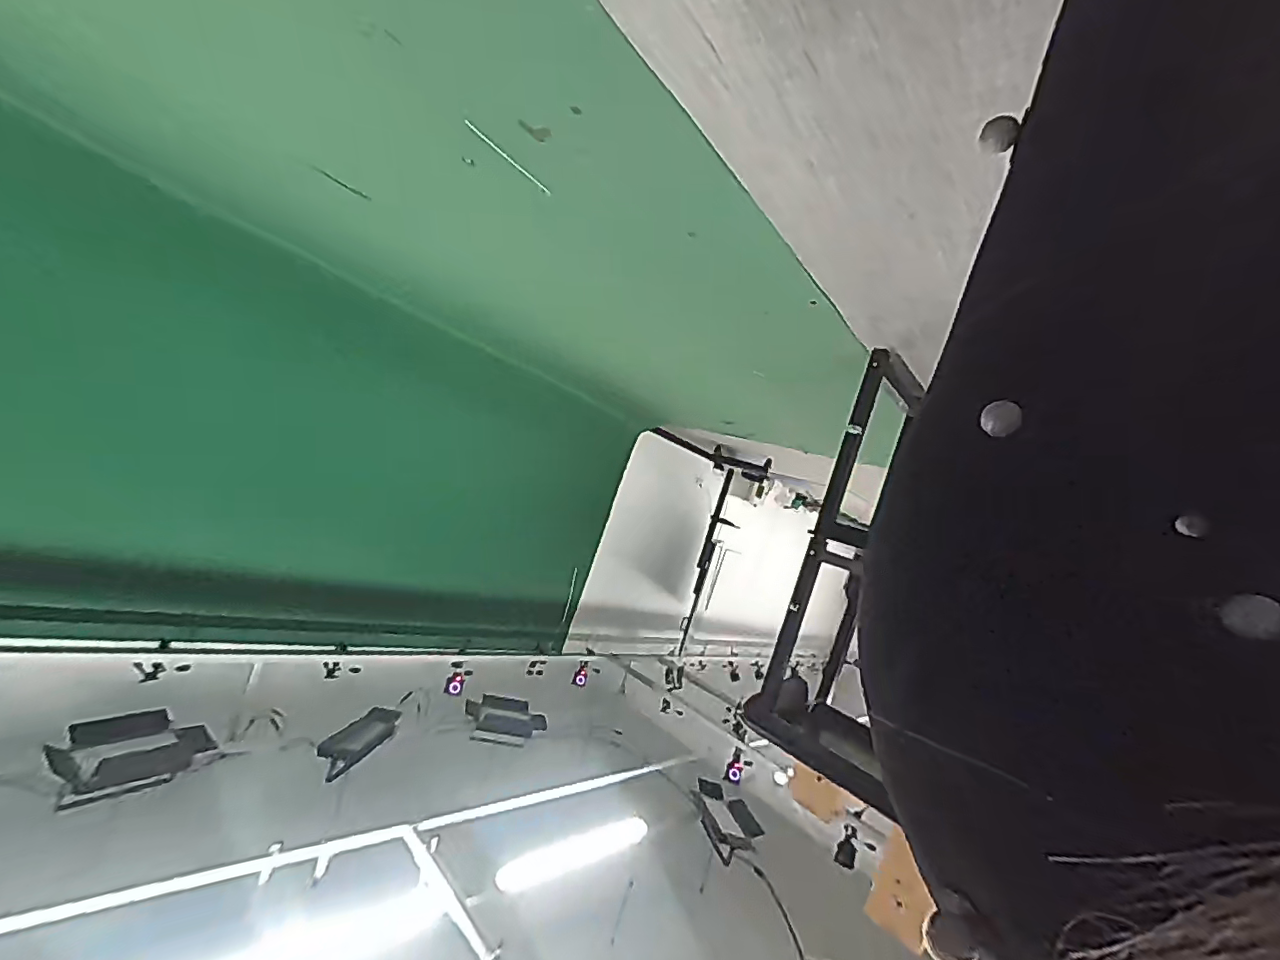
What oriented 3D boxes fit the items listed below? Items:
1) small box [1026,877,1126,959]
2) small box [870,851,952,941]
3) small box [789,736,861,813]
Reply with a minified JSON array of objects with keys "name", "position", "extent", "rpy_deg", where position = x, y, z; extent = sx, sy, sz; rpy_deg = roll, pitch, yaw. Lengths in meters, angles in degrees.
[{"name":"small box","position":[1.138,1.187,1.408],"extent":[0.168,0.176,0.179],"rpy_deg":[18,179,44]},{"name":"small box","position":[0.846,1.264,1.685],"extent":[0.168,0.176,0.179],"rpy_deg":[18,178,43]},{"name":"small box","position":[0.661,1.033,1.916],"extent":[0.168,0.176,0.179],"rpy_deg":[17,177,42]}]
